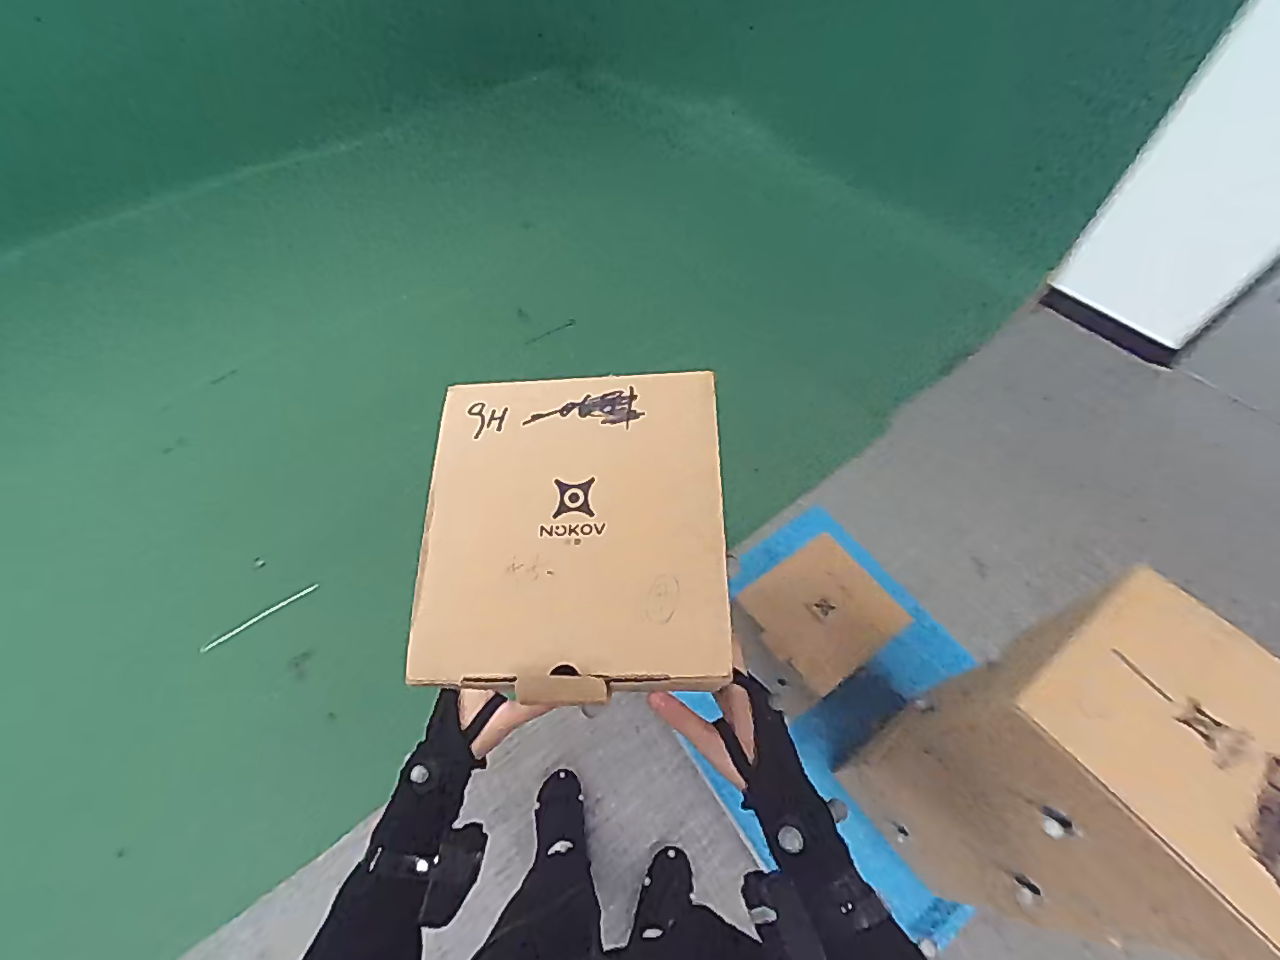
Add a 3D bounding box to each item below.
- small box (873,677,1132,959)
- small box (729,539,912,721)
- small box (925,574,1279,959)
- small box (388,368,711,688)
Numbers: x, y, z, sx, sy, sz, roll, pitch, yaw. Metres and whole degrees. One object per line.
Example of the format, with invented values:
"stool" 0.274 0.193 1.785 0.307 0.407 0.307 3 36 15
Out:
"small box" 0.371 0.305 0.530 0.168 0.176 0.179 -32 61 -18
"small box" 0.245 0.223 0.786 0.179 0.176 0.168 -29 62 -17
"small box" 0.359 0.208 0.398 0.168 0.176 0.179 -31 60 -18
"small box" -0.038 0.046 0.365 0.168 0.176 0.179 -2 68 4
